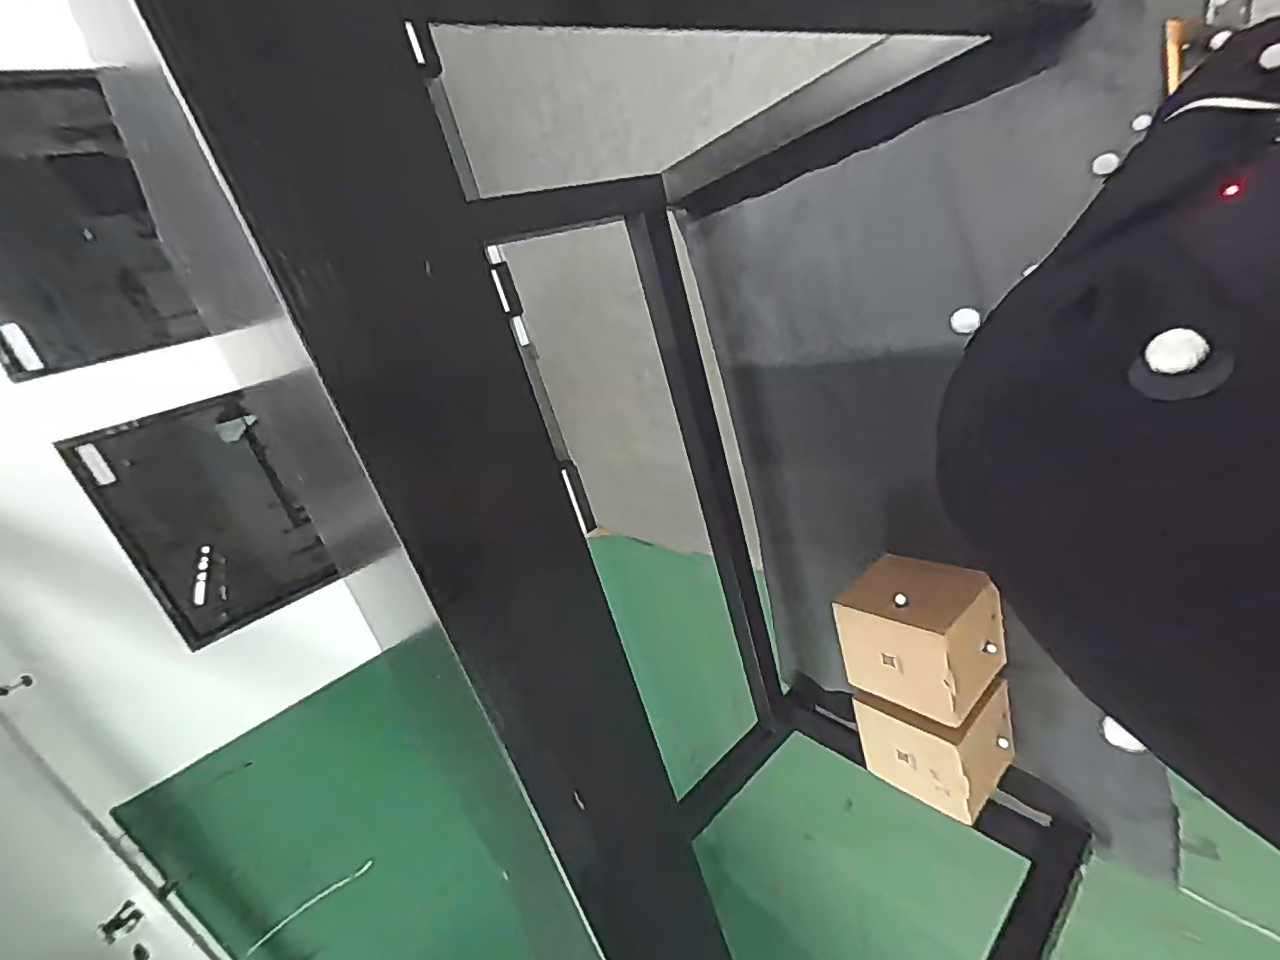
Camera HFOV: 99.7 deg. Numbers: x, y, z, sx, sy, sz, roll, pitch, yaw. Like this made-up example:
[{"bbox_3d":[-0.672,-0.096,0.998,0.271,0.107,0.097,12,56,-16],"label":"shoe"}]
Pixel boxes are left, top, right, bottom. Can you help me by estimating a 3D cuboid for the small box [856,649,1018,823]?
[{"bbox_3d":[0.499,0.412,0.909,0.179,0.176,0.168,7,120,54],"label":"small box"}]
